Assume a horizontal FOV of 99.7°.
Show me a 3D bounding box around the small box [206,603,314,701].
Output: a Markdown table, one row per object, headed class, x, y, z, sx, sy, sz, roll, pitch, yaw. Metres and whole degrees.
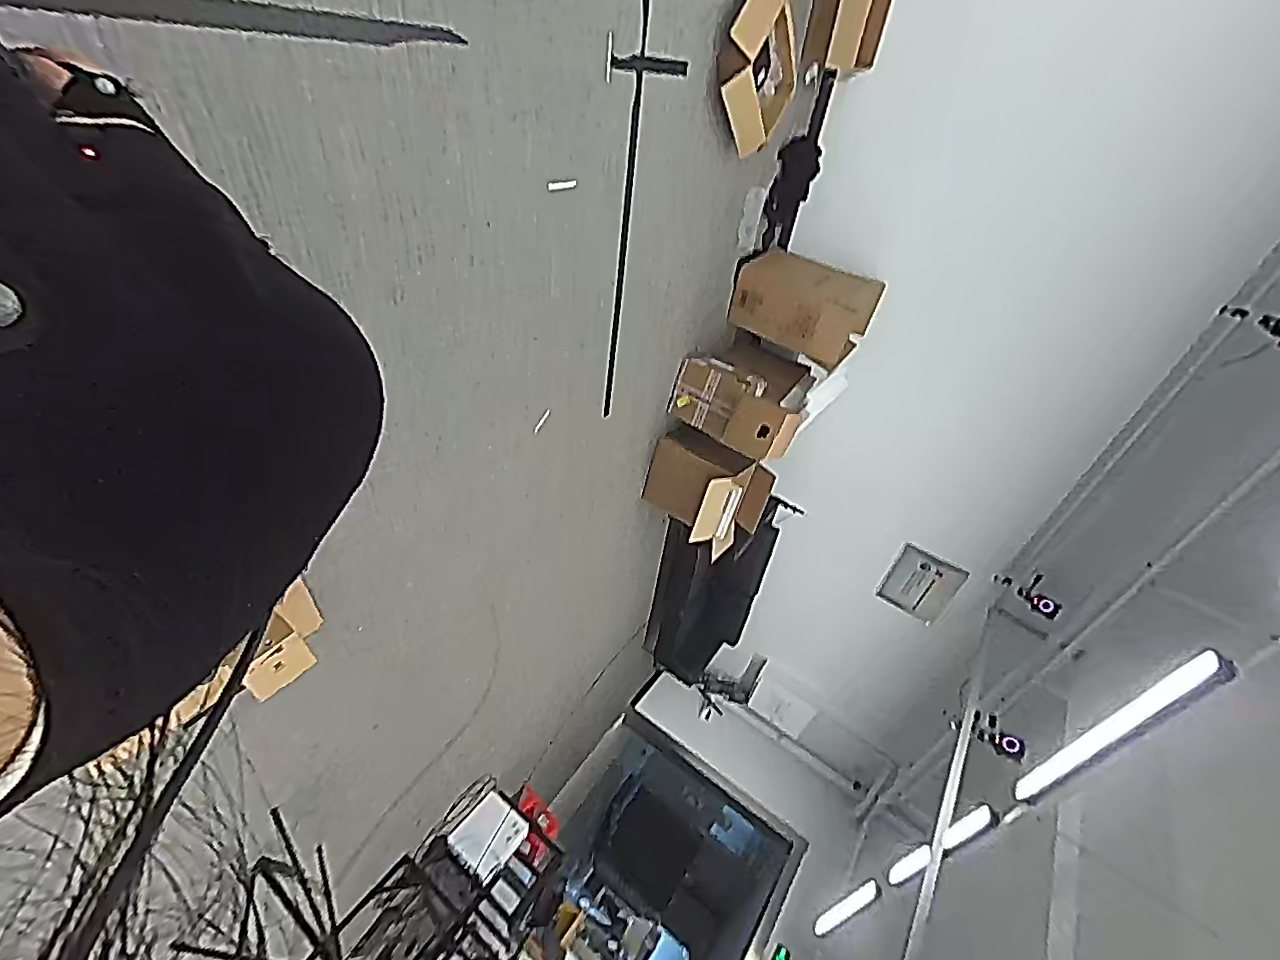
| class | x | y | z | sx | sy | sz | roll | pitch | yaw |
| --- | --- | --- | --- | --- | --- | --- | --- | --- | --- |
| small box | -1.083 | 0.486 | 1.548 | 0.168 | 0.176 | 0.179 | -42 | 152 | -38 |
